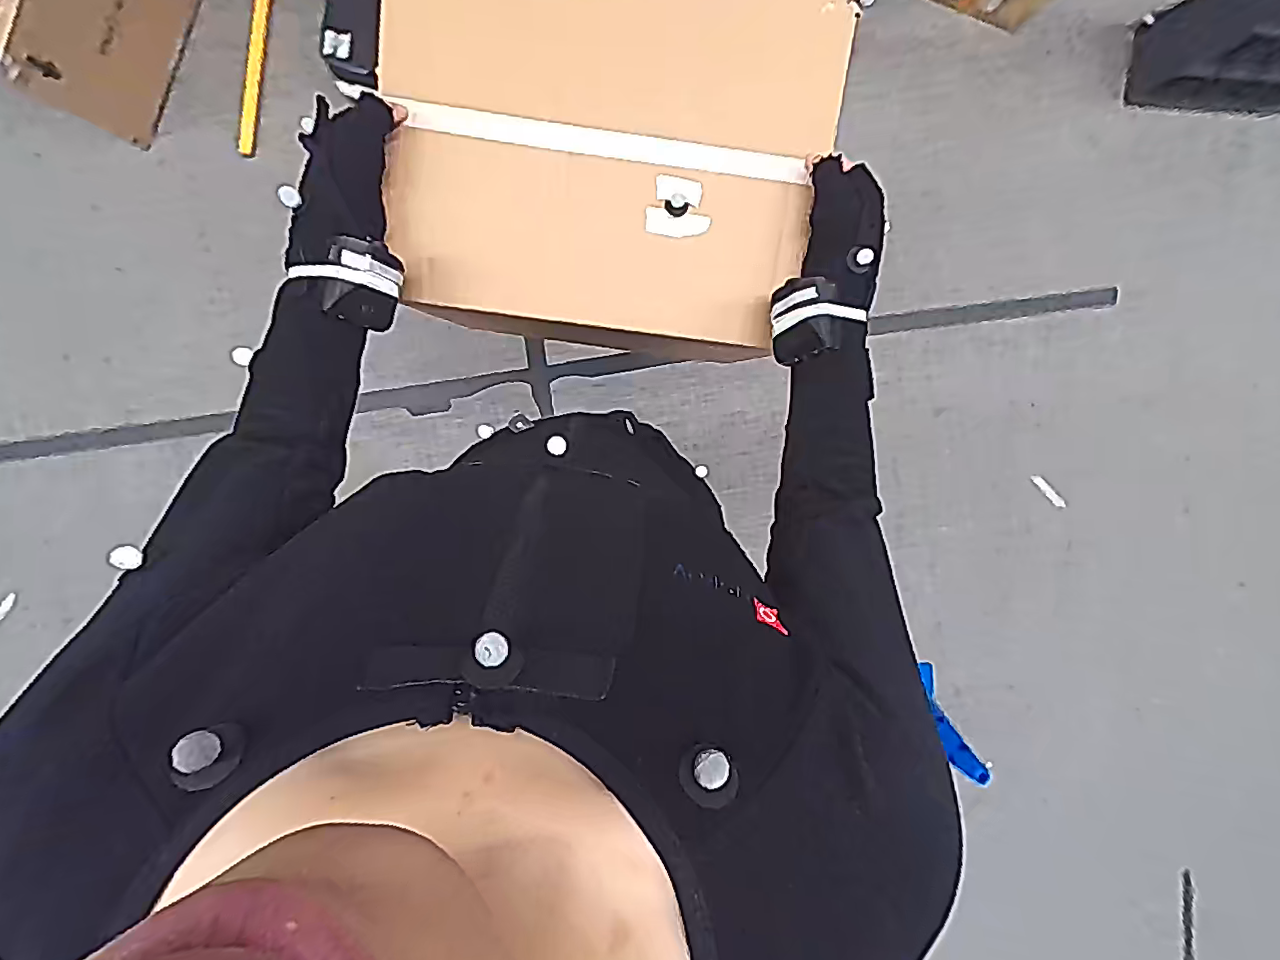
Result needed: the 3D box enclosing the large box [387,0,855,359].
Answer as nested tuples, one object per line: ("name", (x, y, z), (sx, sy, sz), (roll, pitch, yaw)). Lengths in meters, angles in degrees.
("large box", (-0.031, -0.328, 0.637), (0.408, 0.320, 0.320), (7, 100, -5))
